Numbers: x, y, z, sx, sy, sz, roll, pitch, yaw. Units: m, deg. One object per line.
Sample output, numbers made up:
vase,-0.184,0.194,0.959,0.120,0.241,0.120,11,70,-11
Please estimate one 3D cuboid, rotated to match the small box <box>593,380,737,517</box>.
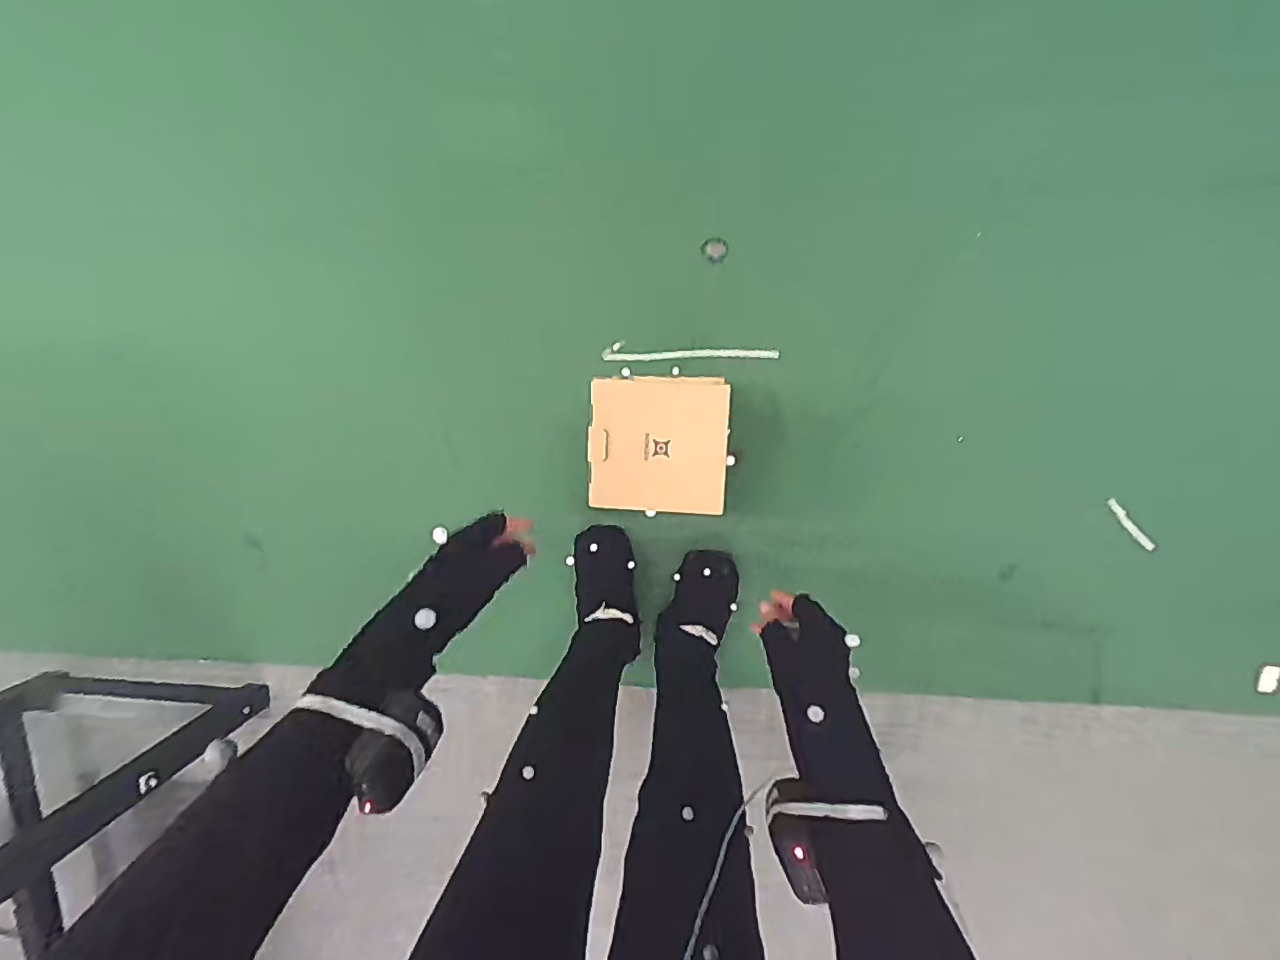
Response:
small box,0.037,-0.052,0.755,0.179,0.176,0.168,3,100,6
